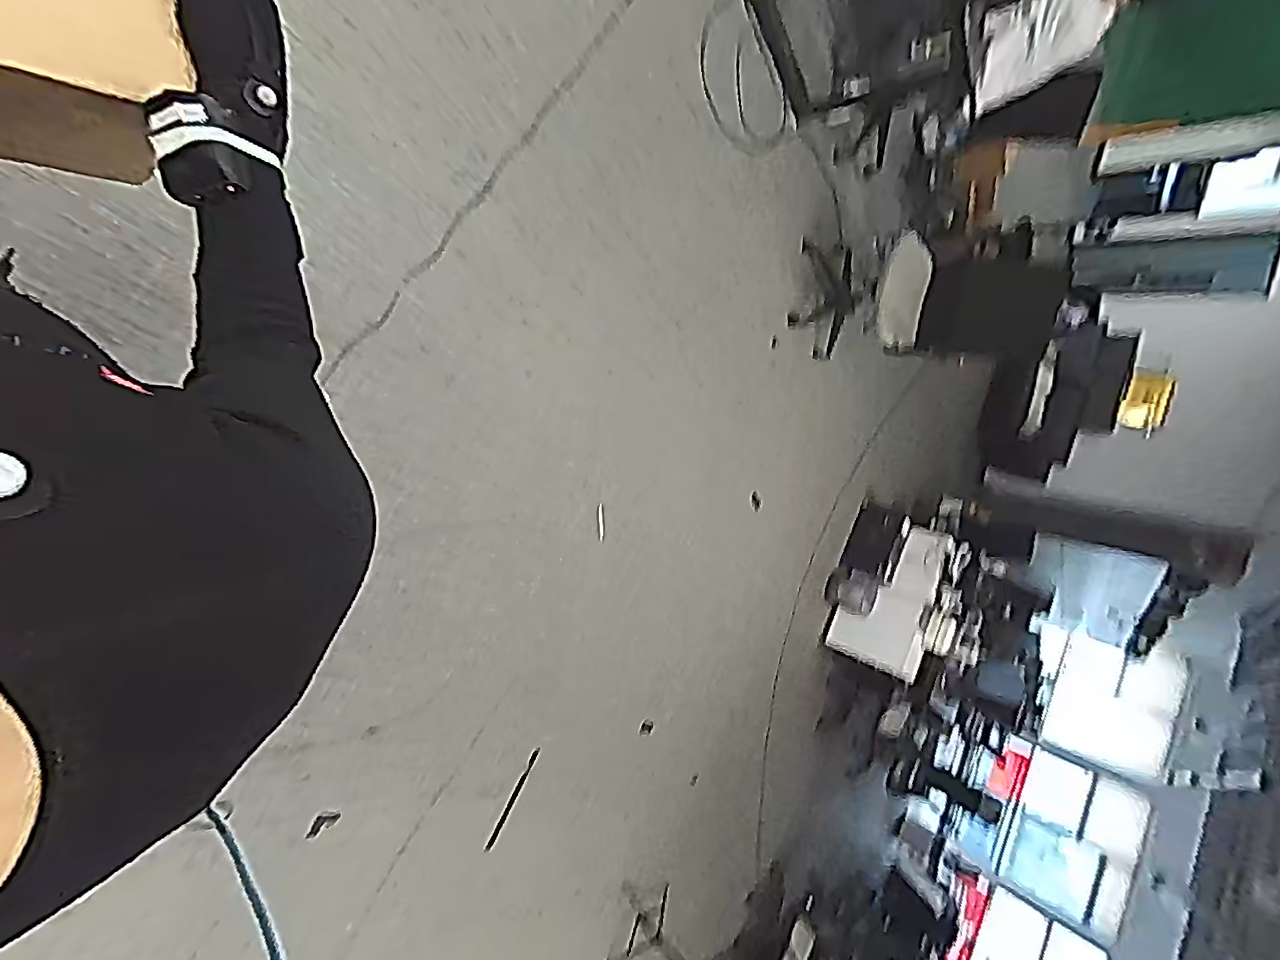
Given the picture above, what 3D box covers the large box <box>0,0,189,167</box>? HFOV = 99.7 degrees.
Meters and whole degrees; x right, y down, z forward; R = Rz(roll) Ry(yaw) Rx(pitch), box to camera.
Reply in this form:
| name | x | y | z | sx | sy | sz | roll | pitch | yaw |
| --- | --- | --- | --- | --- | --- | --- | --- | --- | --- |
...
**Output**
| name | x | y | z | sx | sy | sz | roll | pitch | yaw |
| --- | --- | --- | --- | --- | --- | --- | --- | --- | --- |
| large box | -0.591 | -0.437 | 0.335 | 0.408 | 0.320 | 0.320 | -13 | 112 | -48 |
